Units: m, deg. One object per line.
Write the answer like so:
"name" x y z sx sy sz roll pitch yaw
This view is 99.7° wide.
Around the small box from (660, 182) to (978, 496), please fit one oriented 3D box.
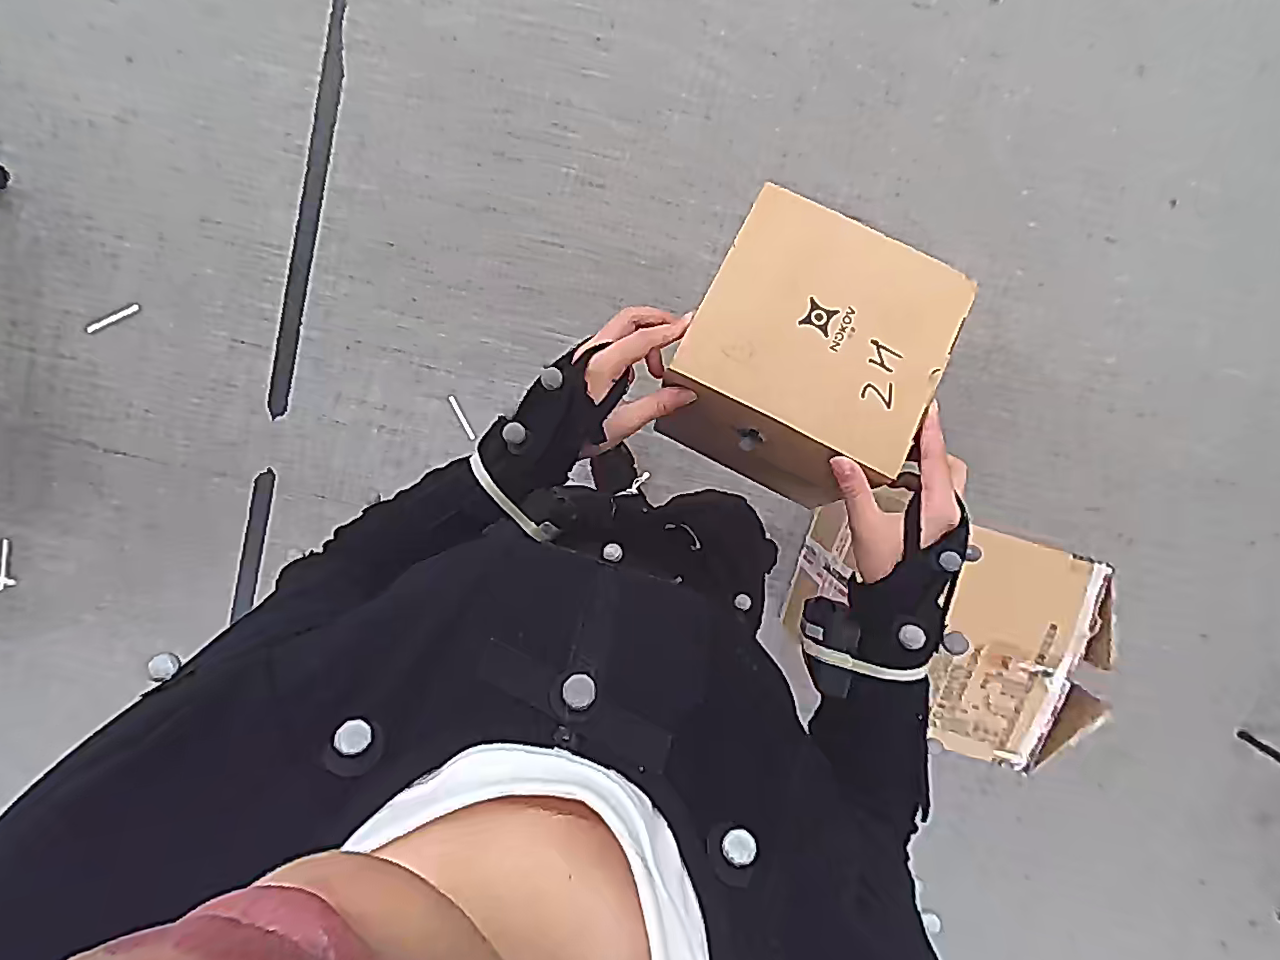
"small box" 0.128 -0.098 0.458 0.179 0.176 0.168 27 81 2
